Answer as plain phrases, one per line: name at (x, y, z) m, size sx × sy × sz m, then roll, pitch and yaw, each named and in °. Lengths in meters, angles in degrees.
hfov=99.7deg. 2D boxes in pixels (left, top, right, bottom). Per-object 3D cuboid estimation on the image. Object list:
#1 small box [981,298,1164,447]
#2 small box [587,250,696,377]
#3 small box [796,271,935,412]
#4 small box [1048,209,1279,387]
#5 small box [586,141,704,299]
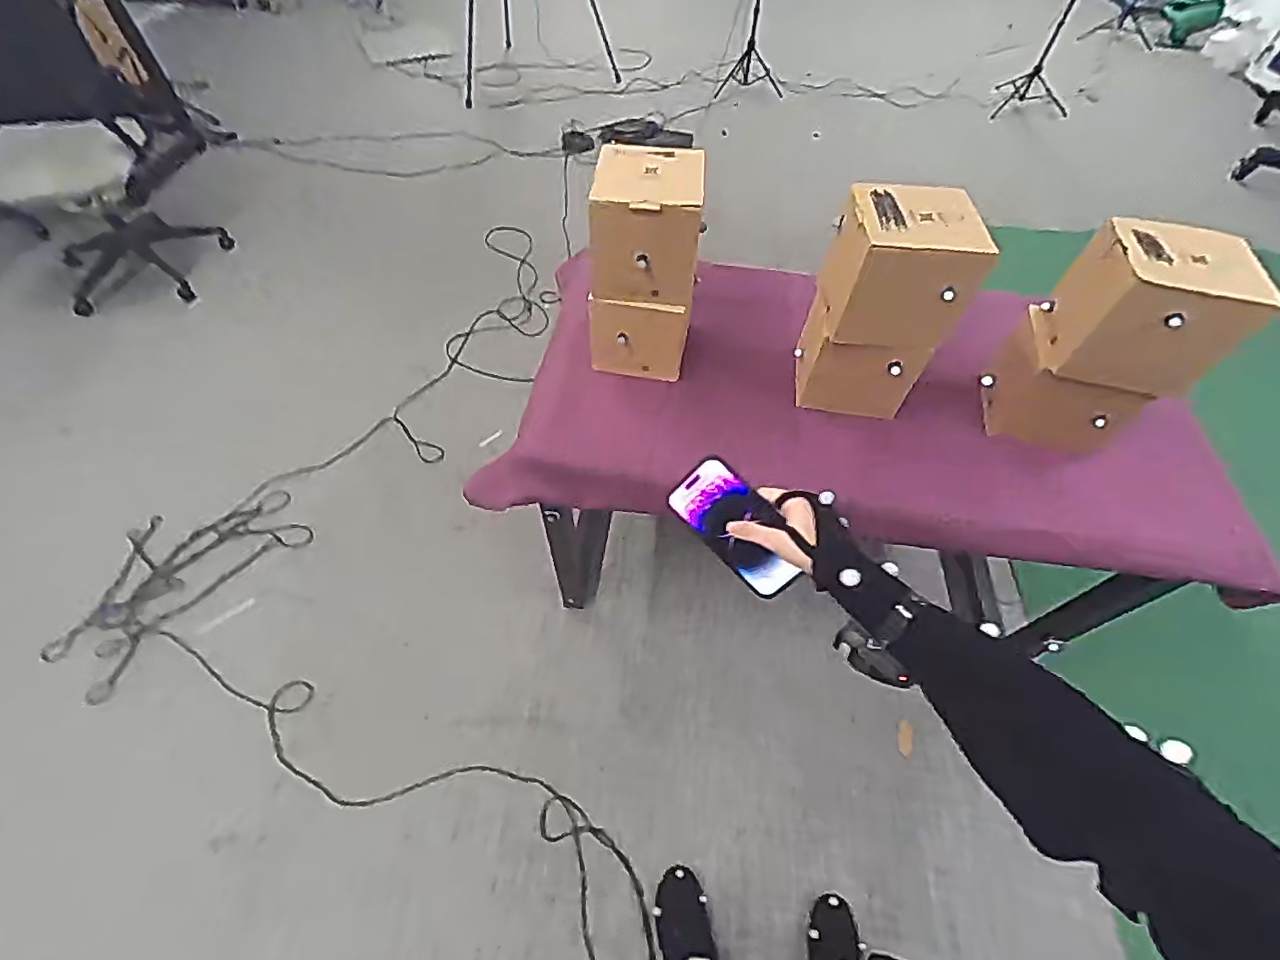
small box at (0.720, -0.178, 0.923) m, size 0.179 × 0.176 × 0.168 m, roll 14°, pitch 56°, yaw 9°
small box at (0.006, -0.315, 1.004) m, size 0.168 × 0.176 × 0.179 m, roll 9°, pitch 55°, yaw 5°
small box at (0.388, -0.240, 0.959) m, size 0.179 × 0.176 × 0.168 m, roll 9°, pitch 55°, yaw 5°
small box at (0.729, -0.257, 0.780) m, size 0.179 × 0.176 × 0.168 m, roll 14°, pitch 56°, yaw 8°
small box at (0.010, -0.415, 0.874) m, size 0.168 × 0.176 × 0.179 m, roll 5°, pitch 56°, yaw 2°
